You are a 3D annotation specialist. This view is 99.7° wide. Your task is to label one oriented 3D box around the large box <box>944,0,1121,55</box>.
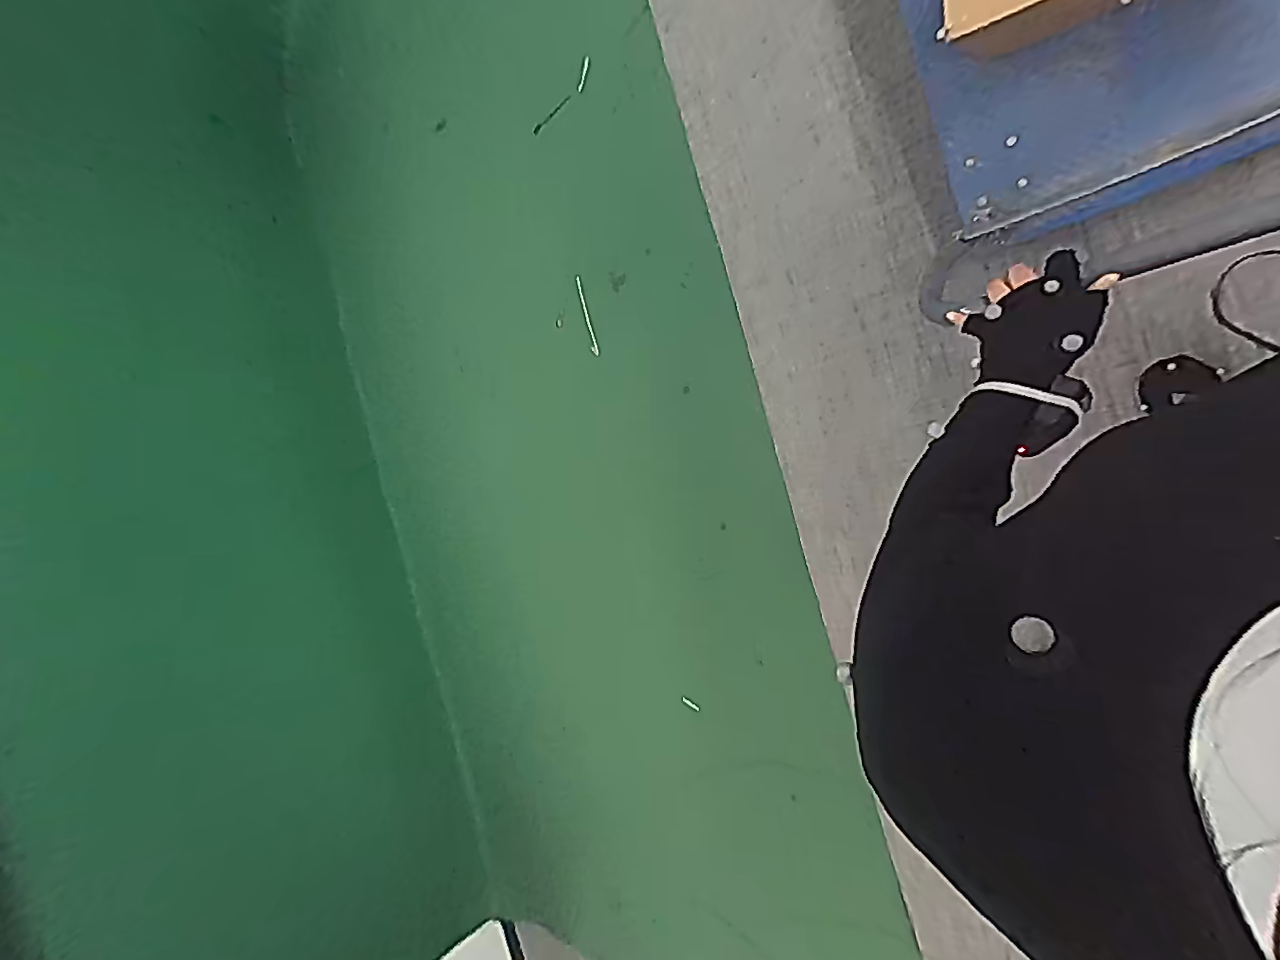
[{"bbox_3d":[0.664,-0.857,0.732,0.408,0.320,0.320,3,117,42],"label":"large box"}]
